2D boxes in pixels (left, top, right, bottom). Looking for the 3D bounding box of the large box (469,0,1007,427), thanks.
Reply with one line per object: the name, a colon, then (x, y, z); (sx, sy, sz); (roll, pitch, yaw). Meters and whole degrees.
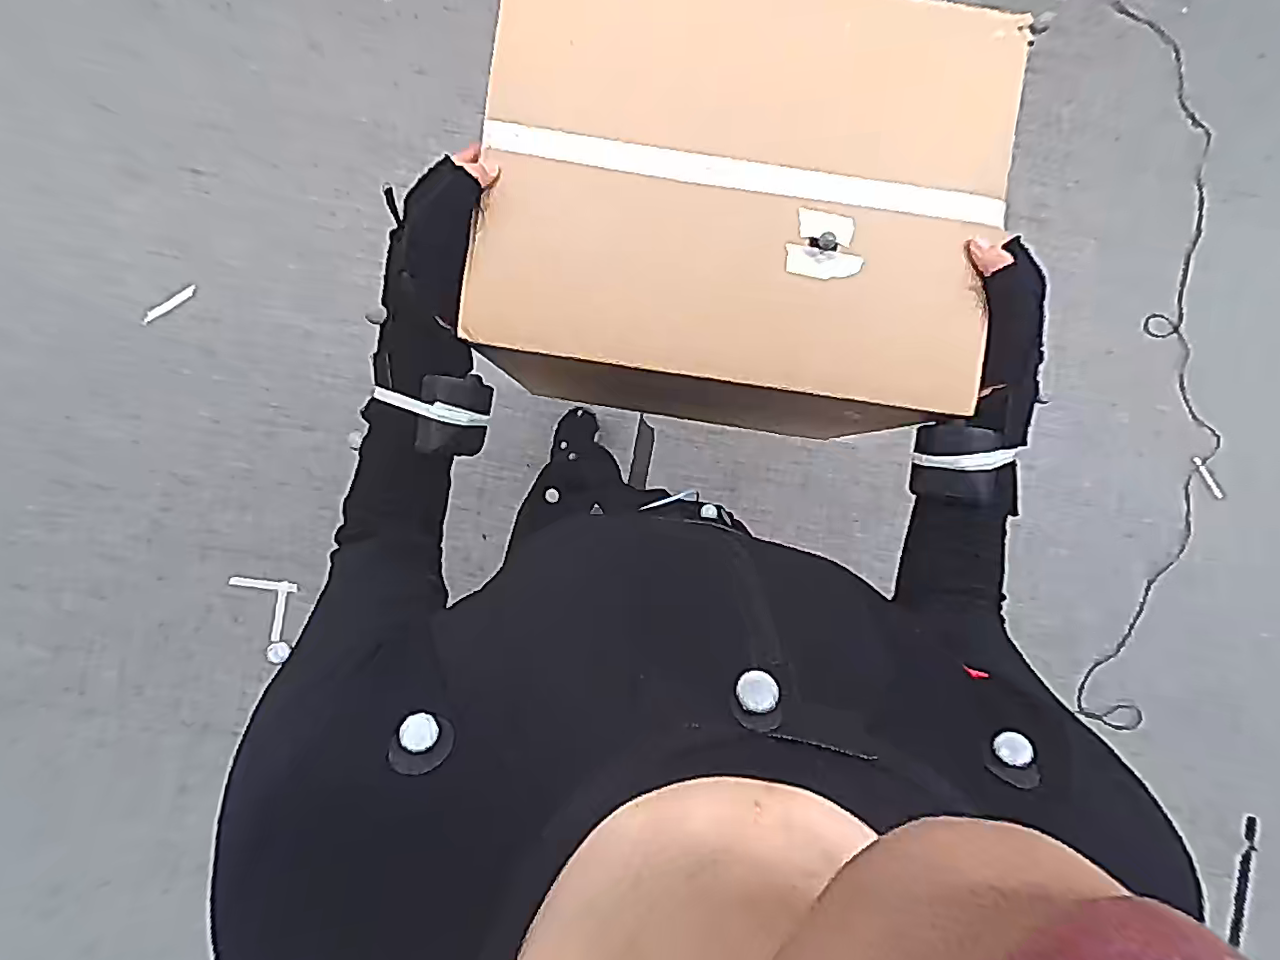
large box: (0.072, -0.242, 0.575); (0.408, 0.320, 0.320); (8, 92, -2)
